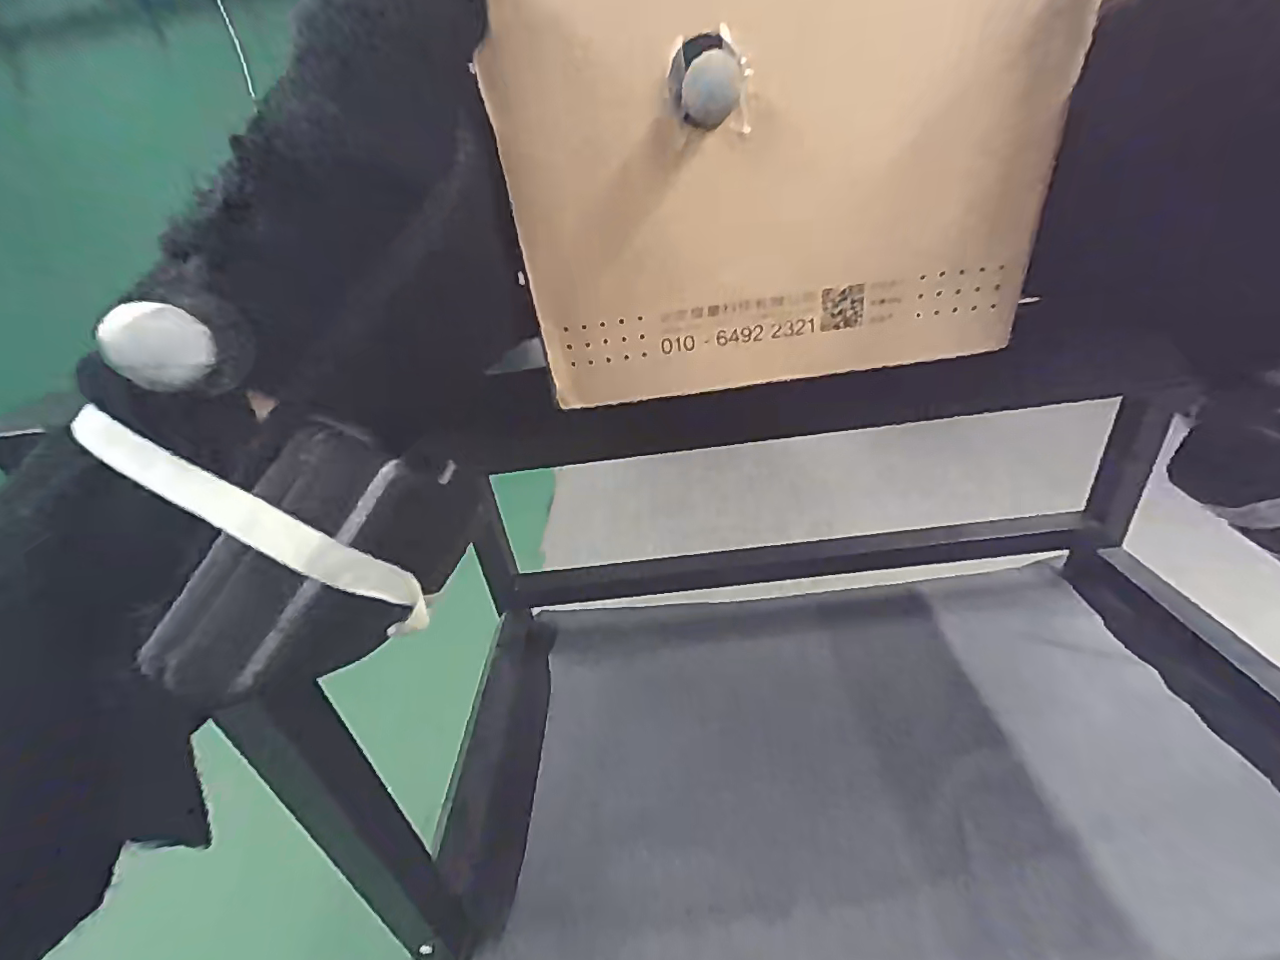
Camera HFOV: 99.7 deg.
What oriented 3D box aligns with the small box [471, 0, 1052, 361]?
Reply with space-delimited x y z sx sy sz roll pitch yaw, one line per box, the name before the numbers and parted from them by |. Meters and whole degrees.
small box | 0.036 -0.157 0.224 0.168 0.176 0.179 -8 33 2
